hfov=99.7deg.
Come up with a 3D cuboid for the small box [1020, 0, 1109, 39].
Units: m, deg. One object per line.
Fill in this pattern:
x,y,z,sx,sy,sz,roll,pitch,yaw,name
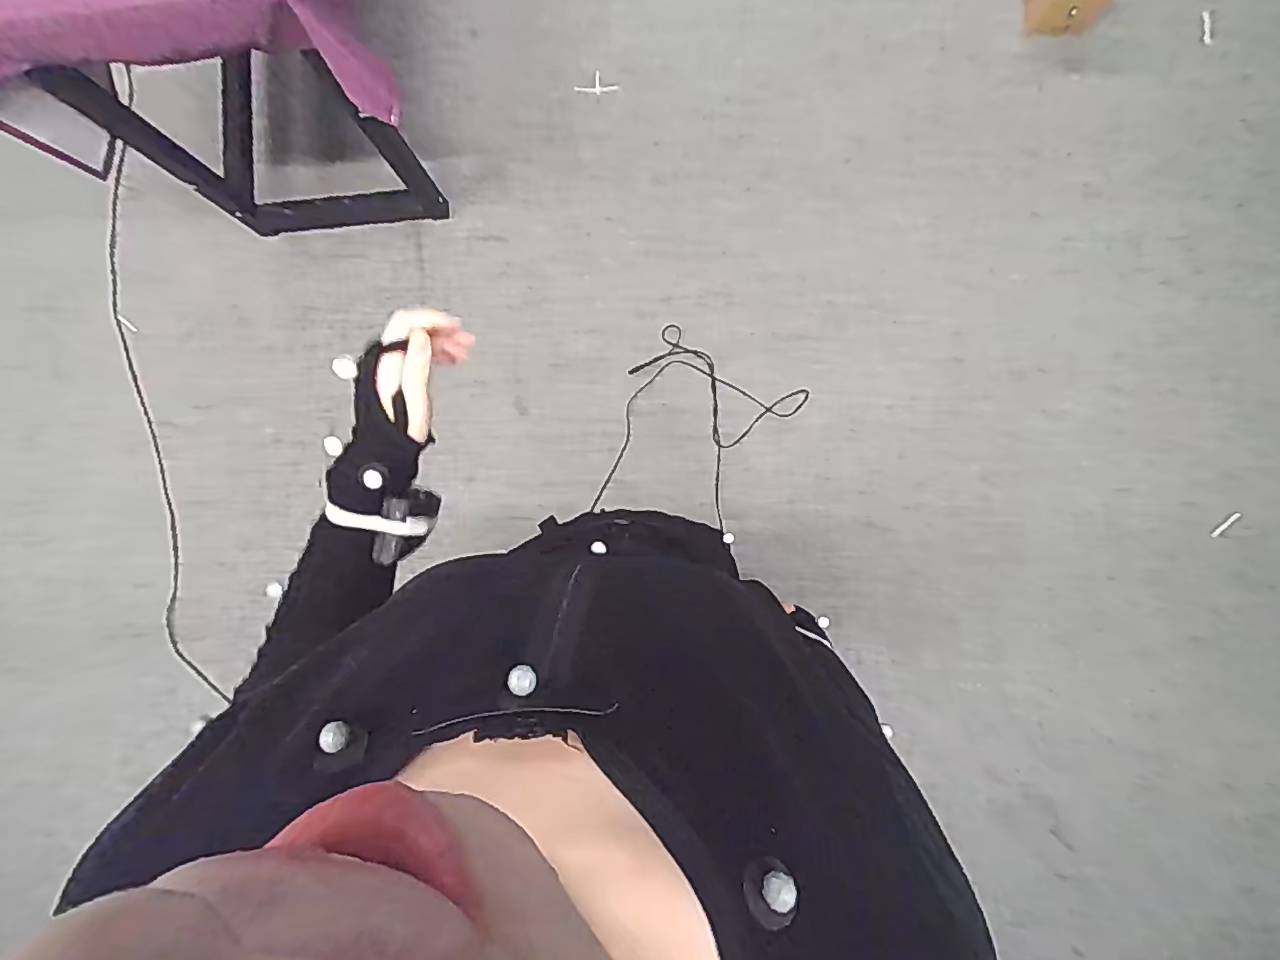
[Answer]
1.184,-1.362,1.488,0.168,0.176,0.179,0,86,1,small box
